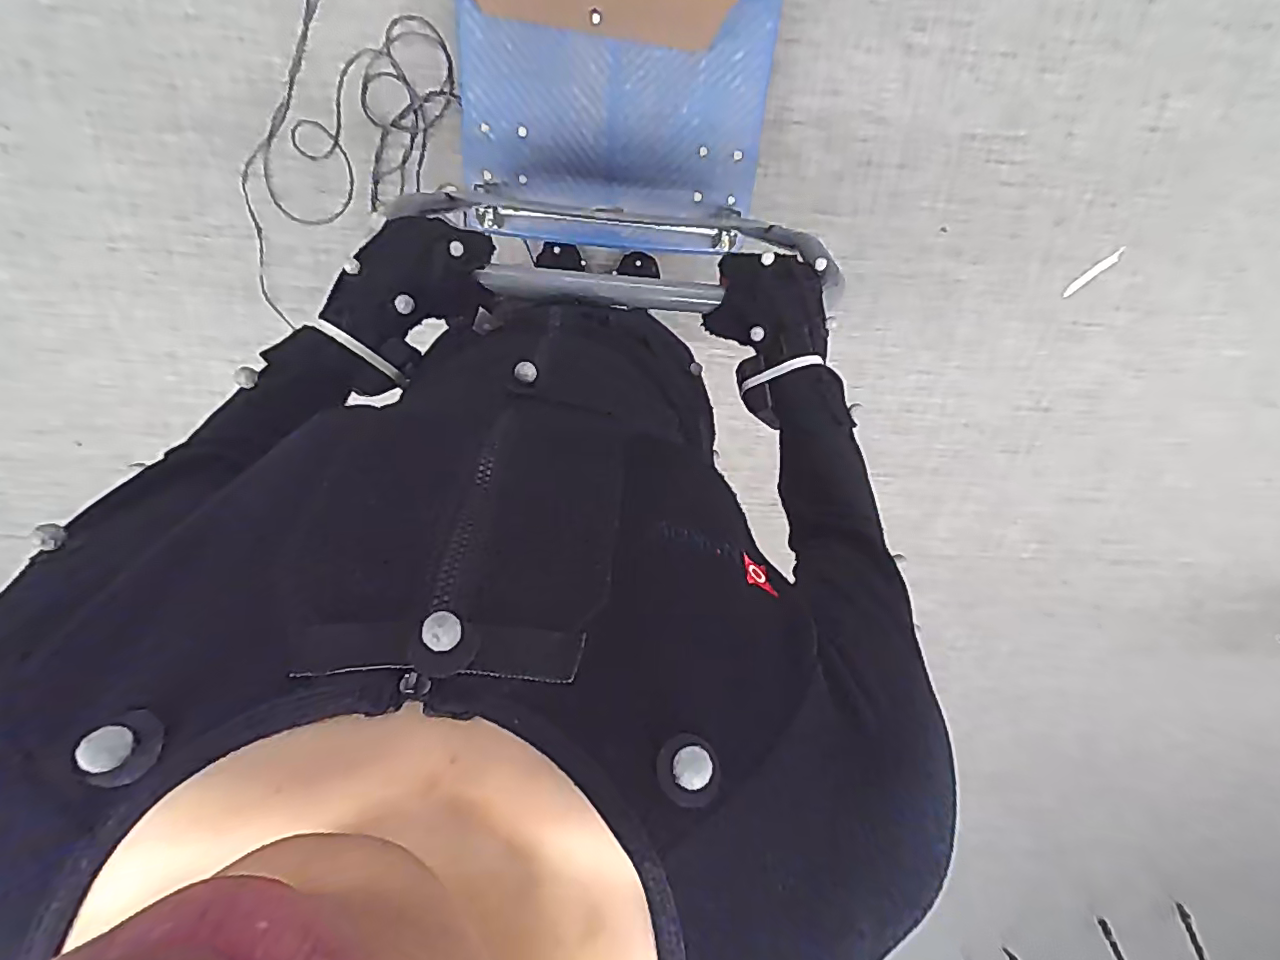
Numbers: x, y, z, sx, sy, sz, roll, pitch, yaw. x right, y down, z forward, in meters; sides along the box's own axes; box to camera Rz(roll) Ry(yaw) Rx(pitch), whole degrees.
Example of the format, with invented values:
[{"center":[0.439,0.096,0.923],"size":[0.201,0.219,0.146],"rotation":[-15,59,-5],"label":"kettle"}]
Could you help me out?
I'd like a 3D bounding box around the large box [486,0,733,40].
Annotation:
[{"center":[-0.048,-0.885,0.778],"size":[0.408,0.320,0.320],"rotation":[5,116,-5],"label":"large box"}]
